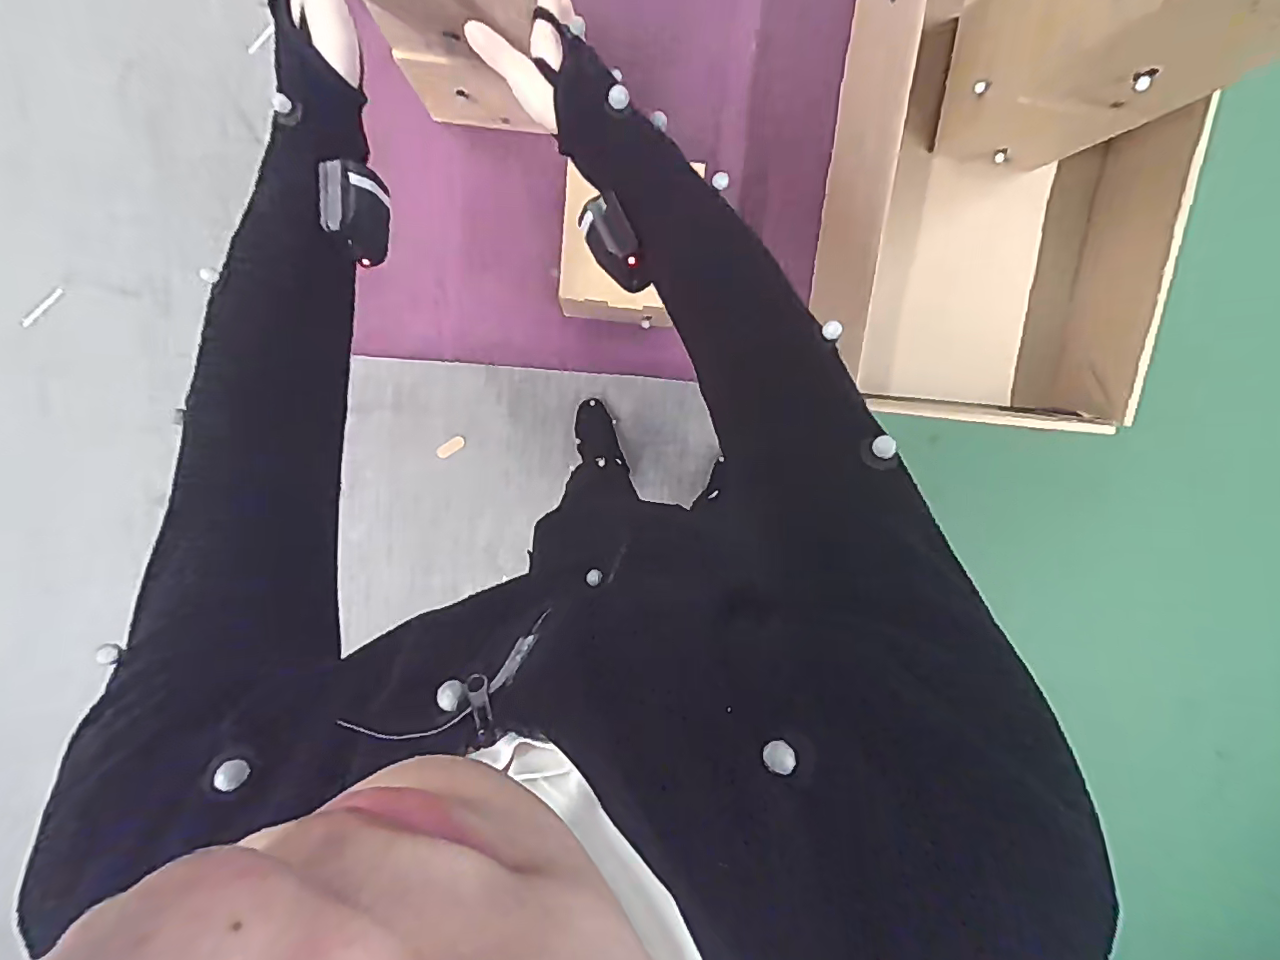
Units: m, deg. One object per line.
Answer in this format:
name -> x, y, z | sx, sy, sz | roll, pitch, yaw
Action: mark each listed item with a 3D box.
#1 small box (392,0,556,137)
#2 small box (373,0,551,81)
small box -> -0.193, -0.557, 0.669 | 0.168, 0.176, 0.179 | 3, 100, -6
small box -> -0.171, -0.529, 0.509 | 0.168, 0.176, 0.179 | 7, 100, -6
